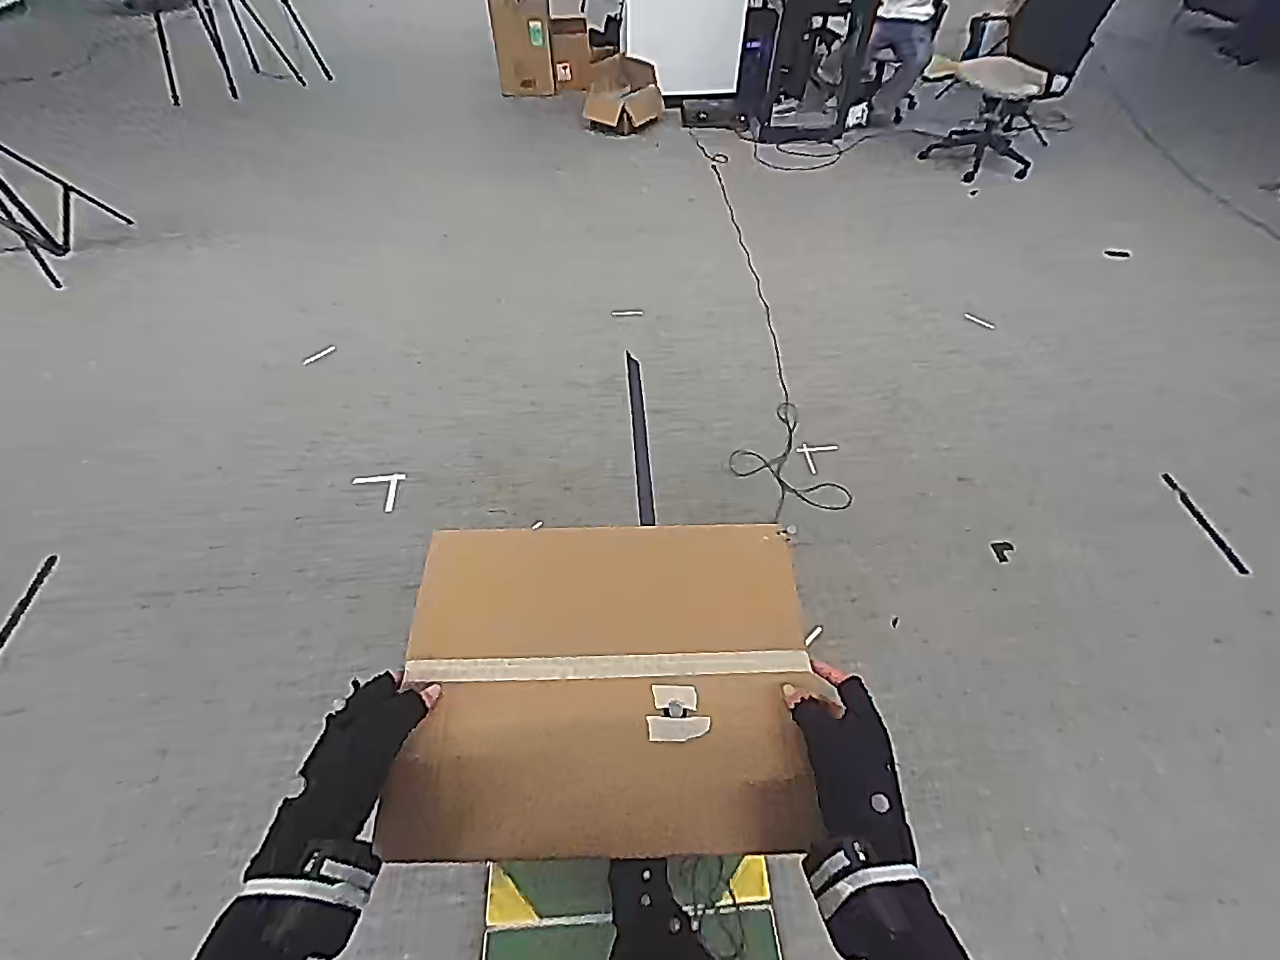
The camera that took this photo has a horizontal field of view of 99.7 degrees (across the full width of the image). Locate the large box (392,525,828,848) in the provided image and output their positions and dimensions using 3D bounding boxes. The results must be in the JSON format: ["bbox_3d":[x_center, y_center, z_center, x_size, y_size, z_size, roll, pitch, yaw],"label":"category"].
[{"bbox_3d":[-0.033,0.268,0.689,0.408,0.320,0.320,-1,58,-1],"label":"large box"}]
